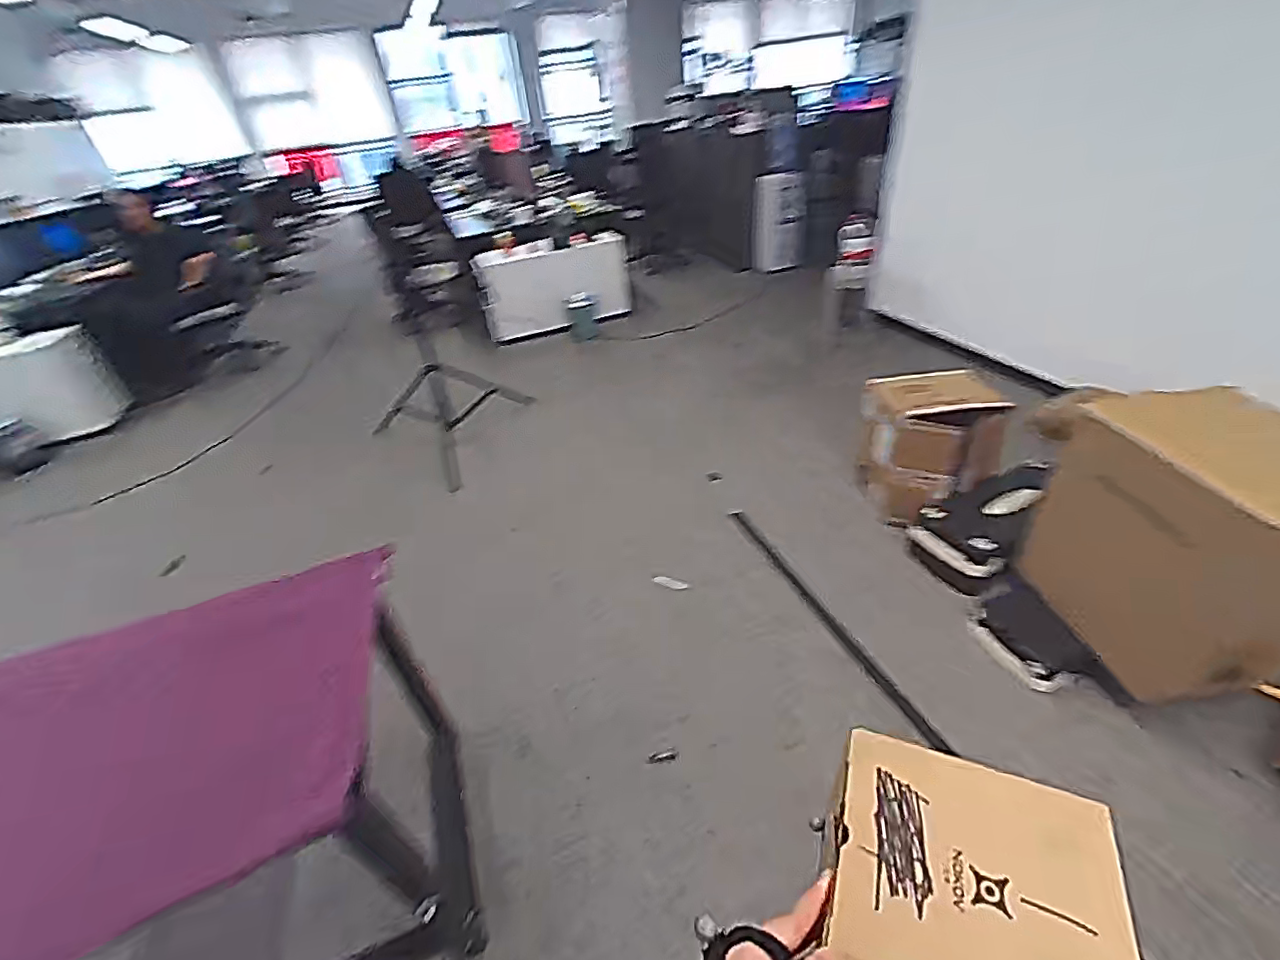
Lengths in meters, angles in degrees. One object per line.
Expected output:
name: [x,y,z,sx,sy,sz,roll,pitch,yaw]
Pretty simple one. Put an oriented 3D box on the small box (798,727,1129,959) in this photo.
small box: [0.223,0.326,0.409,0.179,0.176,0.168,10,43,20]
